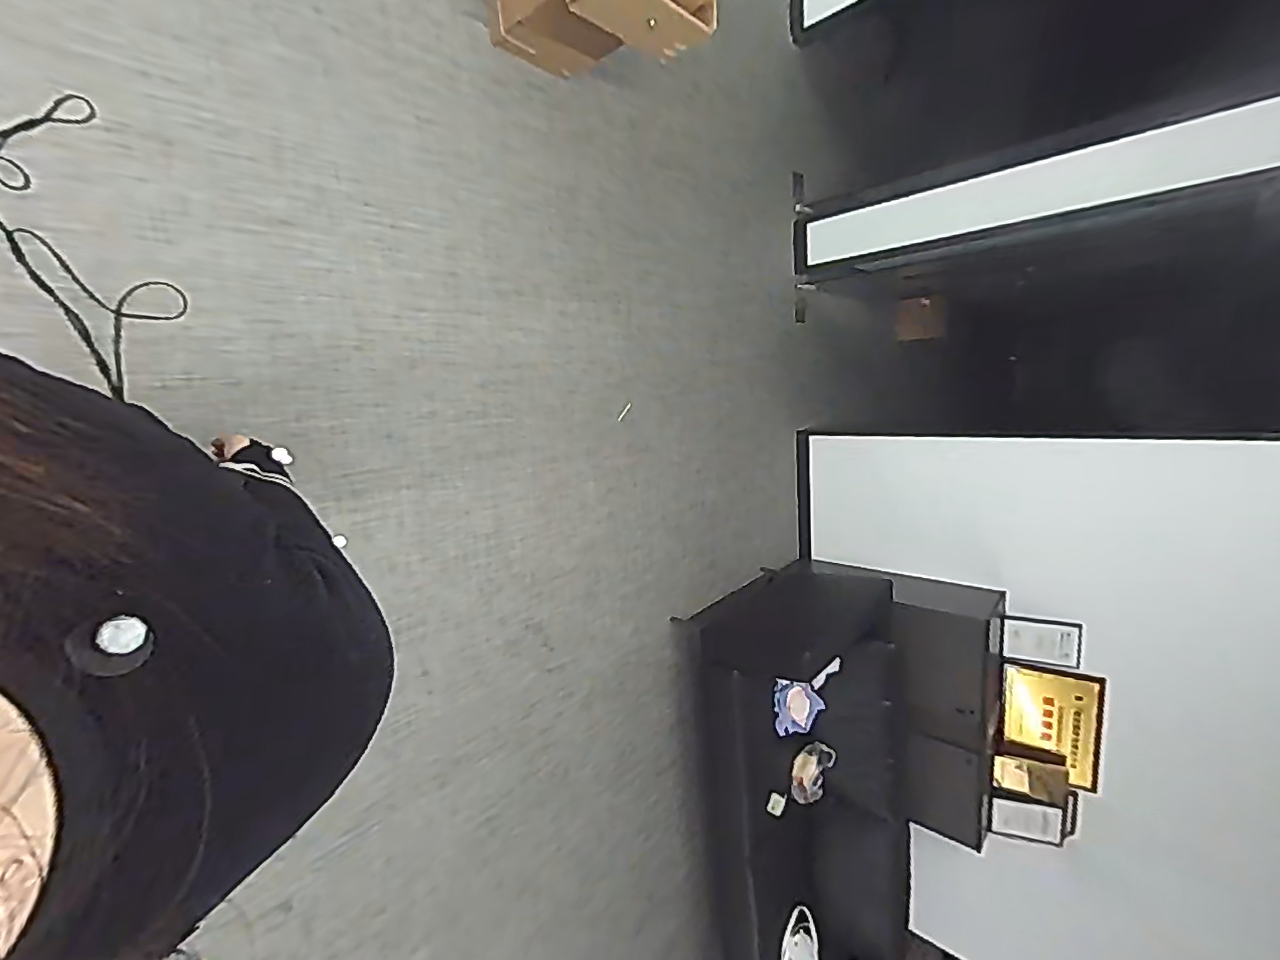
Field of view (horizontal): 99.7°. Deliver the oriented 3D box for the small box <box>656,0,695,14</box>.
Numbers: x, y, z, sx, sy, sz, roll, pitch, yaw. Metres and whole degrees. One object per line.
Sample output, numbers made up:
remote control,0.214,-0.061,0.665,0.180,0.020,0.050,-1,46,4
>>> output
small box,0.097,-1.363,1.390,0.179,0.176,0.168,-5,99,-45
